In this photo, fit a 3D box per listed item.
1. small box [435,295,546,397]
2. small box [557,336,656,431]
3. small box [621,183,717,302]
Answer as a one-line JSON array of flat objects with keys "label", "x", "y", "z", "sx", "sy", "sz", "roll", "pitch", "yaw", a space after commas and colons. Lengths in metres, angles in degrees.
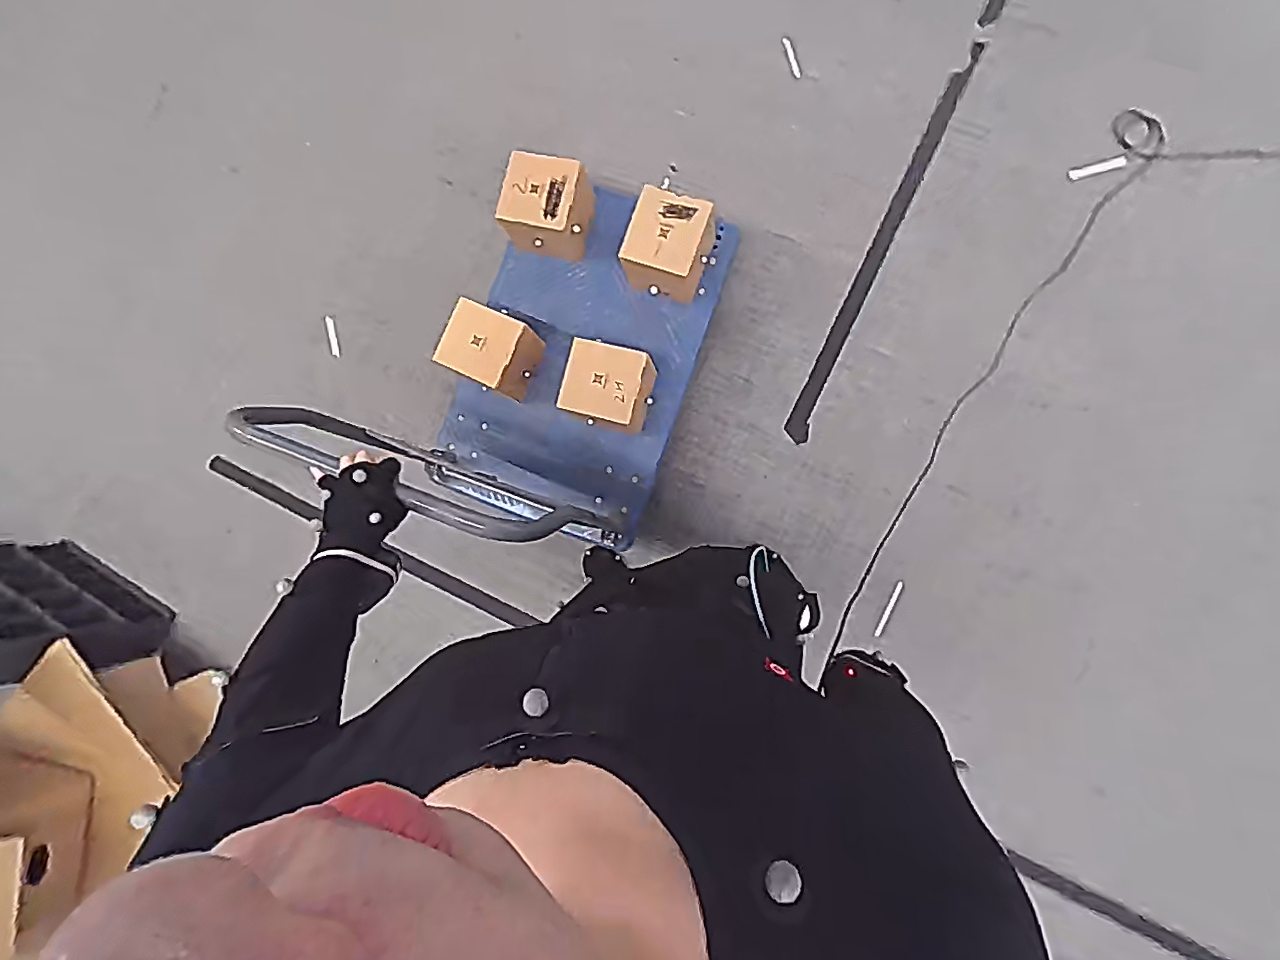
[{"label": "small box", "x": -0.359, "y": -0.318, "z": 1.324, "sx": 0.179, "sy": 0.176, "sz": 0.168, "roll": 24, "pitch": 90, "yaw": 7}, {"label": "small box", "x": -0.072, "y": -0.220, "z": 1.276, "sx": 0.179, "sy": 0.176, "sz": 0.168, "roll": 15, "pitch": 90, "yaw": 9}, {"label": "small box", "x": 0.072, "y": -0.550, "z": 1.272, "sx": 0.168, "sy": 0.176, "sz": 0.179, "roll": 21, "pitch": 92, "yaw": 9}]
